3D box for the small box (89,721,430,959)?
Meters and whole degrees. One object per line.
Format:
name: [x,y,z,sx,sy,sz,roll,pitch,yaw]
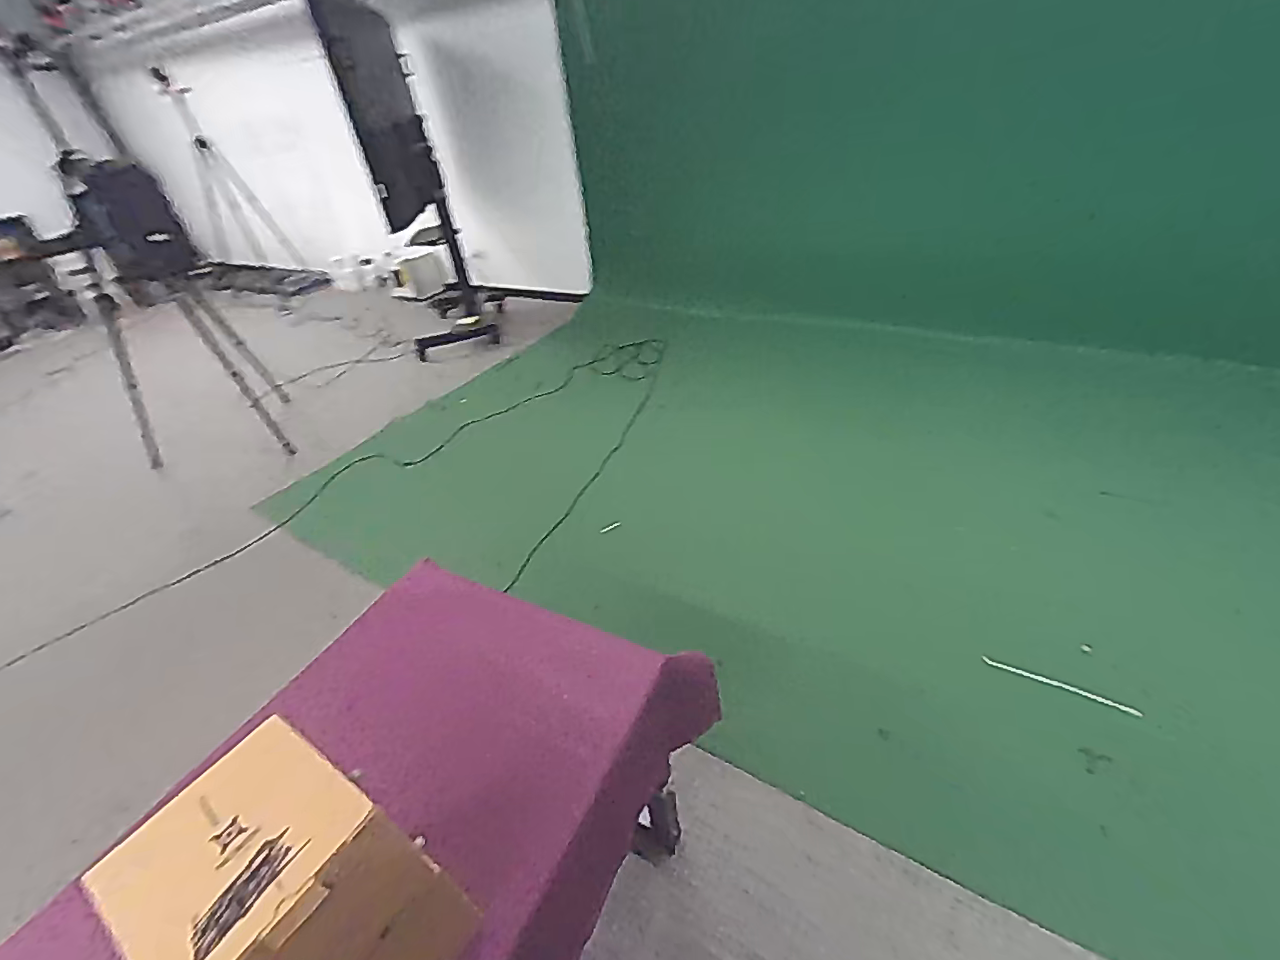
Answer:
small box: [-0.332,0.372,0.502,0.179,0.176,0.168,16,42,30]
